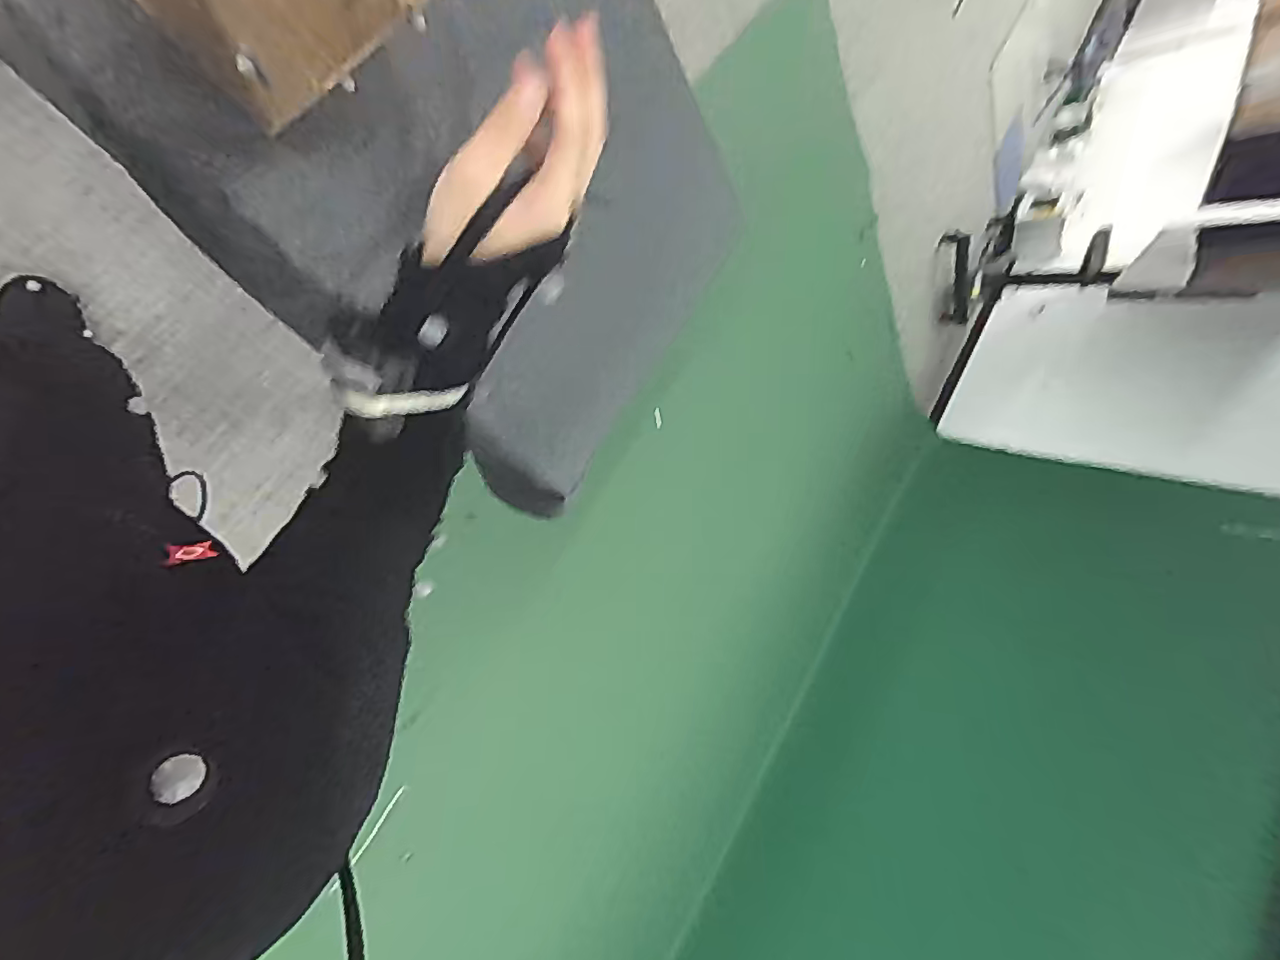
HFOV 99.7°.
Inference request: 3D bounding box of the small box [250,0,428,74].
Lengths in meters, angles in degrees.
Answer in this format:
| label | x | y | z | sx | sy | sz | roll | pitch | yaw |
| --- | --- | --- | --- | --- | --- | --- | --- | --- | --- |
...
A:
| label | x | y | z | sx | sy | sz | roll | pitch | yaw |
| --- | --- | --- | --- | --- | --- | --- | --- | --- | --- |
| small box | -0.176 | -0.382 | 0.306 | 0.168 | 0.176 | 0.179 | -57 | 137 | -16 |
